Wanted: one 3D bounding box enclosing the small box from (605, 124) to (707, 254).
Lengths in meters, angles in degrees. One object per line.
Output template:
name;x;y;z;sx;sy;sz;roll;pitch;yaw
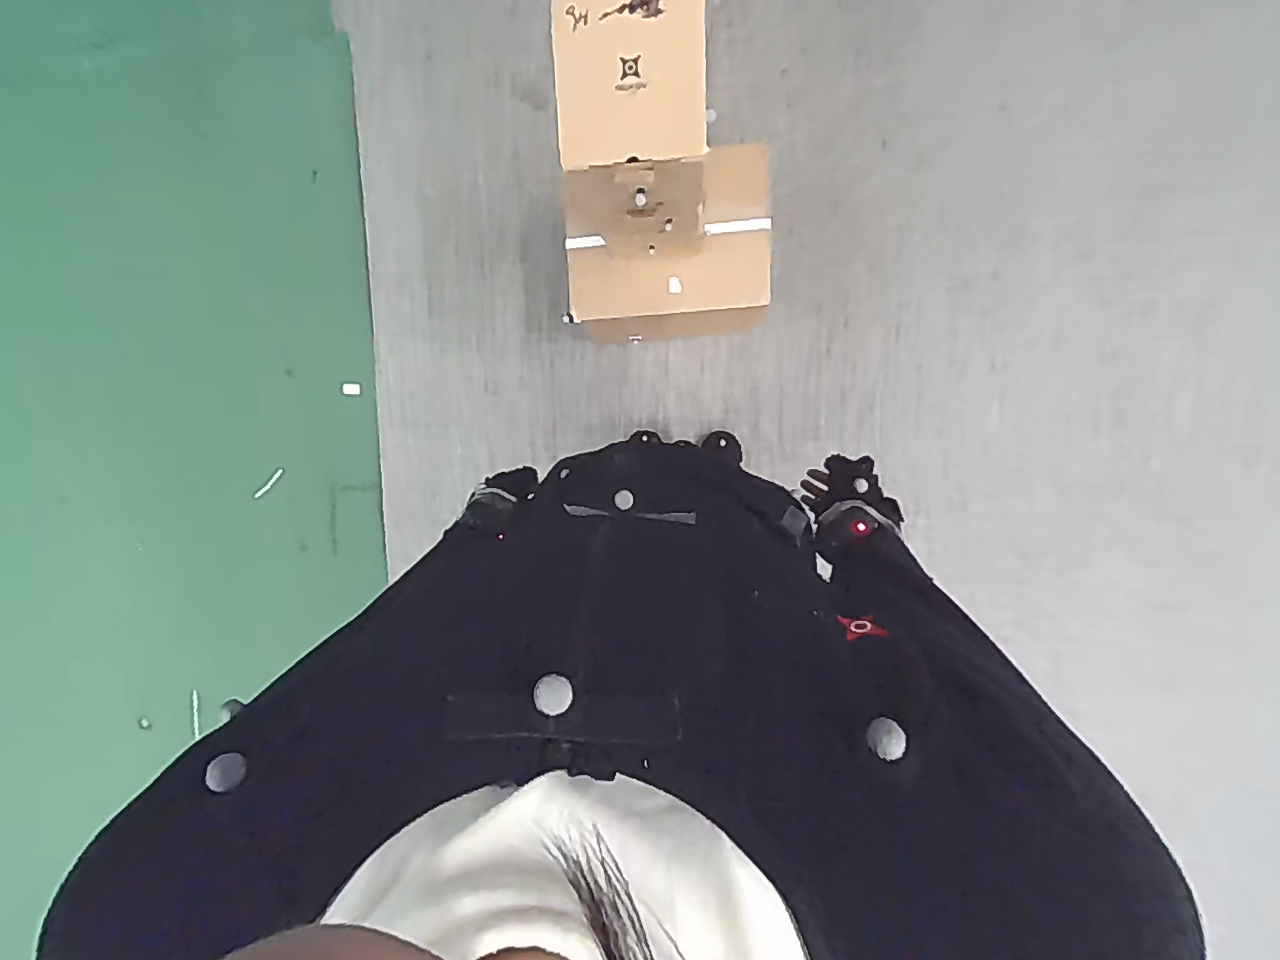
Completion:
small box;0.028;-0.519;0.985;0.179;0.176;0.168;-3;102;6

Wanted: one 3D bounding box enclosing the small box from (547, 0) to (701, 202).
small box;-0.009;-0.457;0.668;0.168;0.176;0.179;-1;102;6

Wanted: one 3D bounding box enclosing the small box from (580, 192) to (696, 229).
small box;0.003;-0.494;0.827;0.168;0.176;0.179;0;101;5
